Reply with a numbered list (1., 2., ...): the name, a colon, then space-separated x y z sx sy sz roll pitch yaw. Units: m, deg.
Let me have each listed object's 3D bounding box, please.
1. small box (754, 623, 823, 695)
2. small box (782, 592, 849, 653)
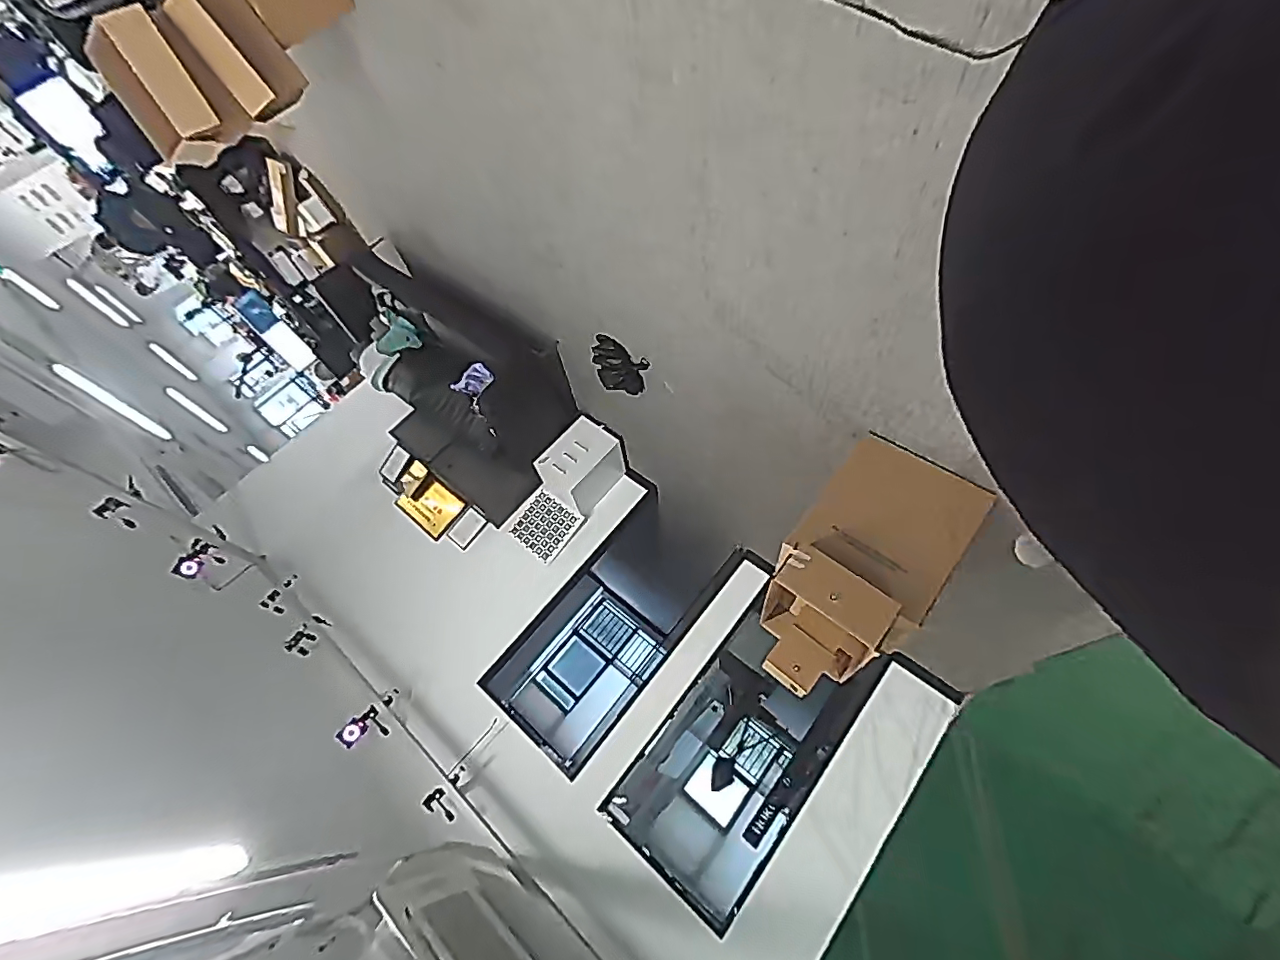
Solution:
1. small box: 0.543 0.655 1.981 0.179 0.176 0.168 37 162 22
2. small box: 0.652 0.542 2.031 0.179 0.176 0.168 36 163 24
